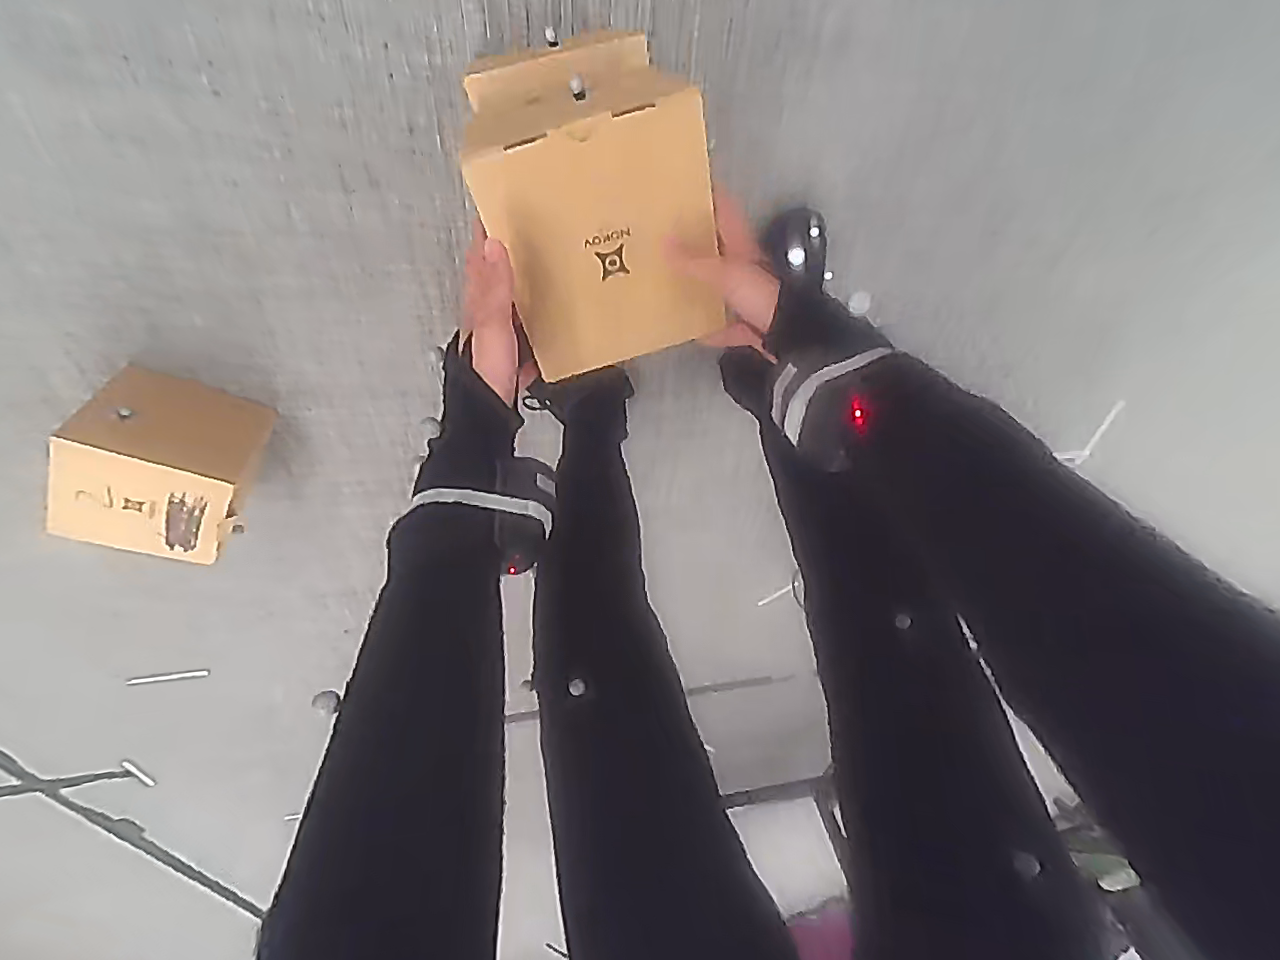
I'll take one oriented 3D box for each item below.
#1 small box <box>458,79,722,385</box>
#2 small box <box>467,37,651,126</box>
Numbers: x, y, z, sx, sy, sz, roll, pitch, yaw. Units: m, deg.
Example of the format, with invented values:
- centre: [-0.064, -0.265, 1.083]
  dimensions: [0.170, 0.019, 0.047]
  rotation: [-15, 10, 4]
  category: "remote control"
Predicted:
- centre: [-0.038, -0.214, 0.465]
  dimensions: [0.168, 0.176, 0.179]
  rotation: [-17, 131, -1]
  category: "small box"
- centre: [-0.077, -0.354, 0.585]
  dimensions: [0.168, 0.176, 0.179]
  rotation: [-15, 132, -2]
  category: "small box"
